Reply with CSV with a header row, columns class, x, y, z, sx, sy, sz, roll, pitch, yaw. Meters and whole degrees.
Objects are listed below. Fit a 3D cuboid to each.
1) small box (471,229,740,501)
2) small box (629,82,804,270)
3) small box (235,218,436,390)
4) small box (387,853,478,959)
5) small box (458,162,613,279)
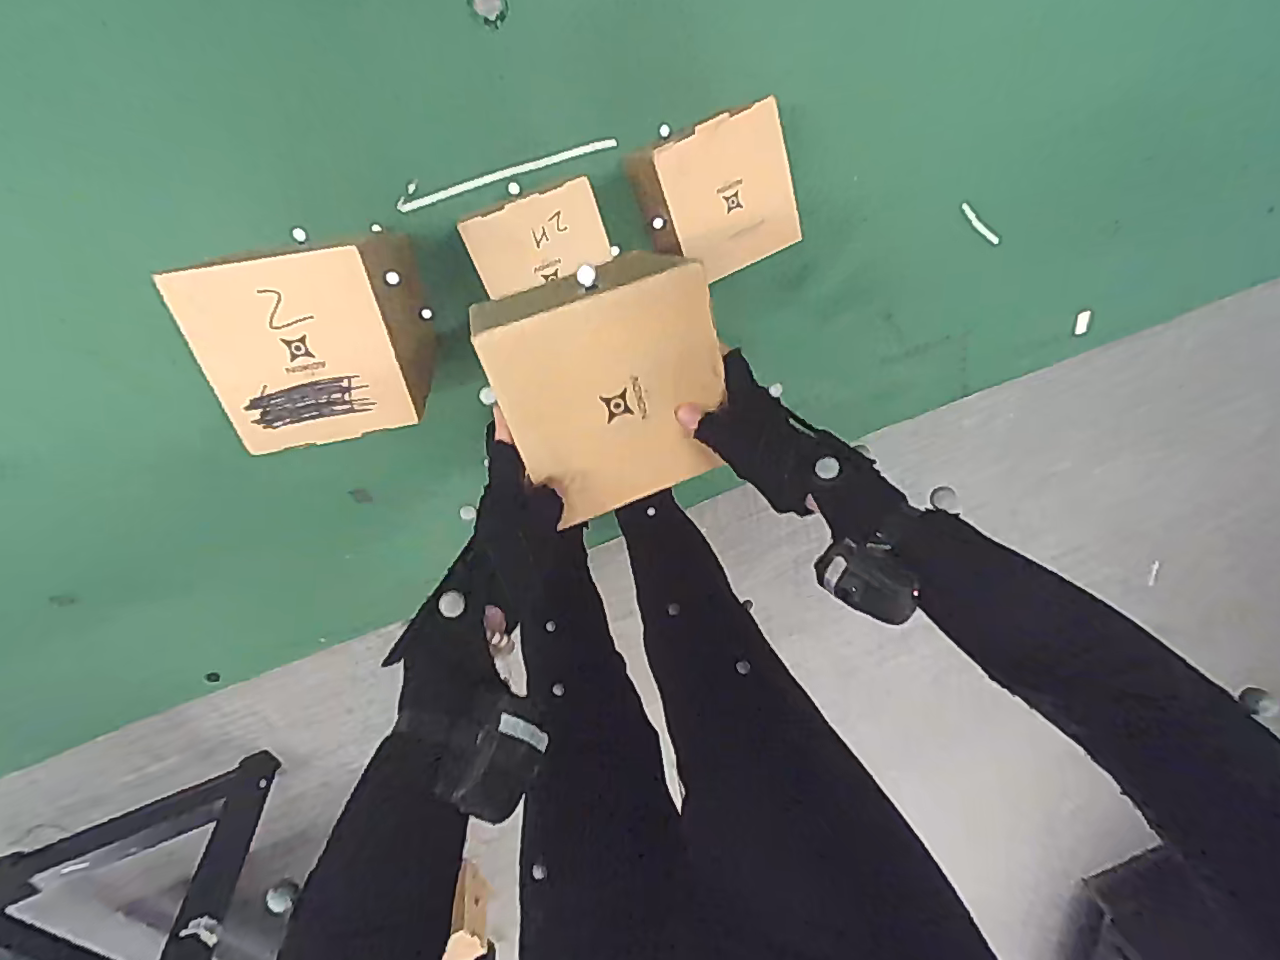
class,x,y,z,sx,sy,sz,roll,pitch,yaw
small box,-0.036,-0.111,0.479,0.179,0.176,0.168,-21,119,-9
small box,0.099,-0.409,0.748,0.168,0.176,0.179,-24,123,-2
small box,-0.374,-0.238,0.705,0.168,0.176,0.179,-11,123,-10
small box,-0.543,1.134,1.433,0.179,0.176,0.168,-17,122,-7
small box,-0.129,-0.313,0.735,0.168,0.176,0.179,-22,122,-4
